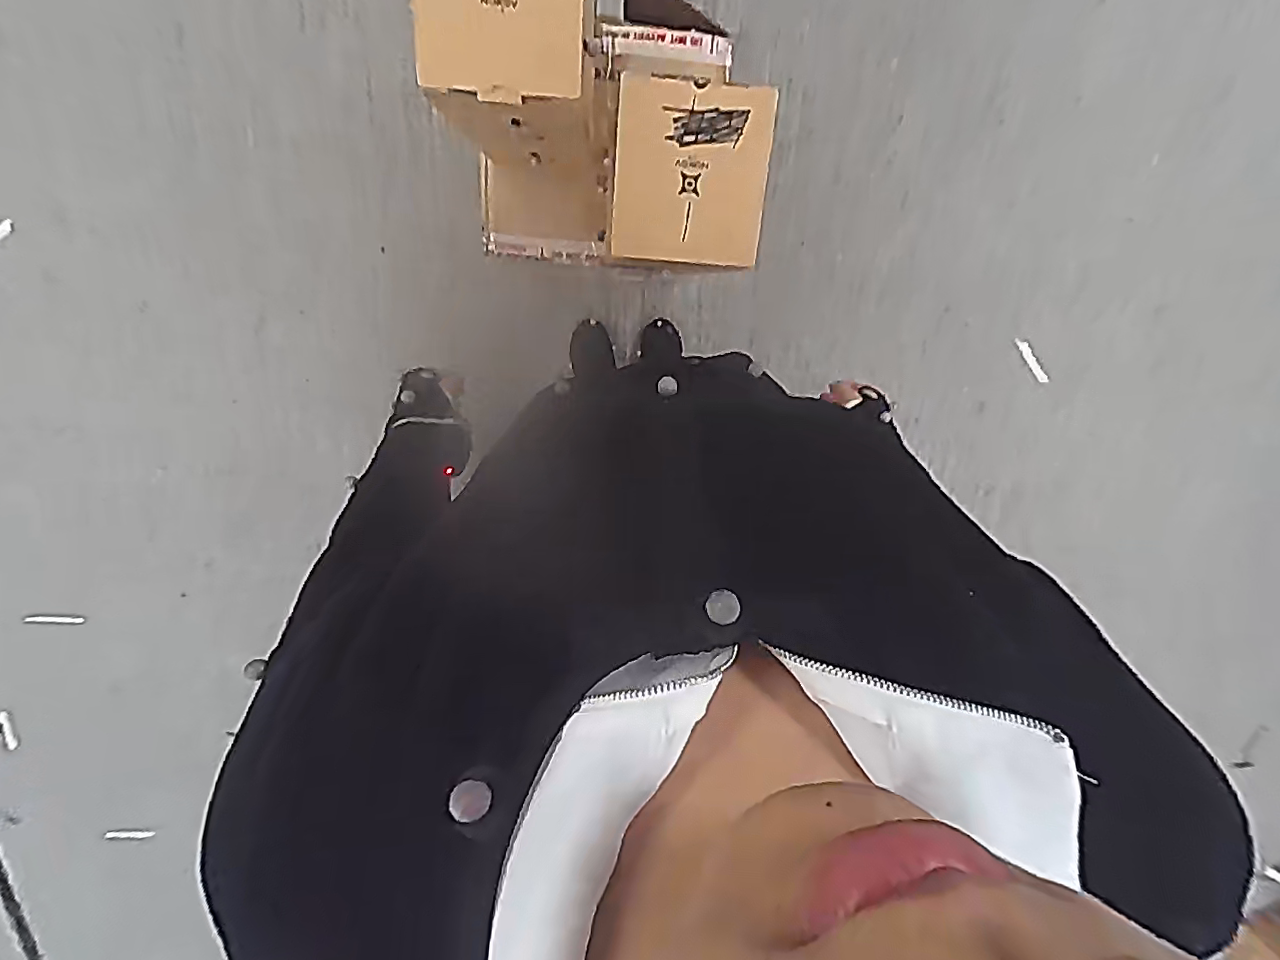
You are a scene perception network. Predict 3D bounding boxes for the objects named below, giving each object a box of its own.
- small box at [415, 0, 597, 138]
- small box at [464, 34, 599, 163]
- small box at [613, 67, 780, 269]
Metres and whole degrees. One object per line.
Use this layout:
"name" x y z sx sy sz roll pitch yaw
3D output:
"small box" -0.136 -0.498 0.595 0.168 0.176 0.179 3 110 -2
"small box" -0.145 -0.560 0.748 0.168 0.176 0.179 1 110 -2
"small box" 0.054 -0.357 0.654 0.168 0.176 0.179 3 110 -3
